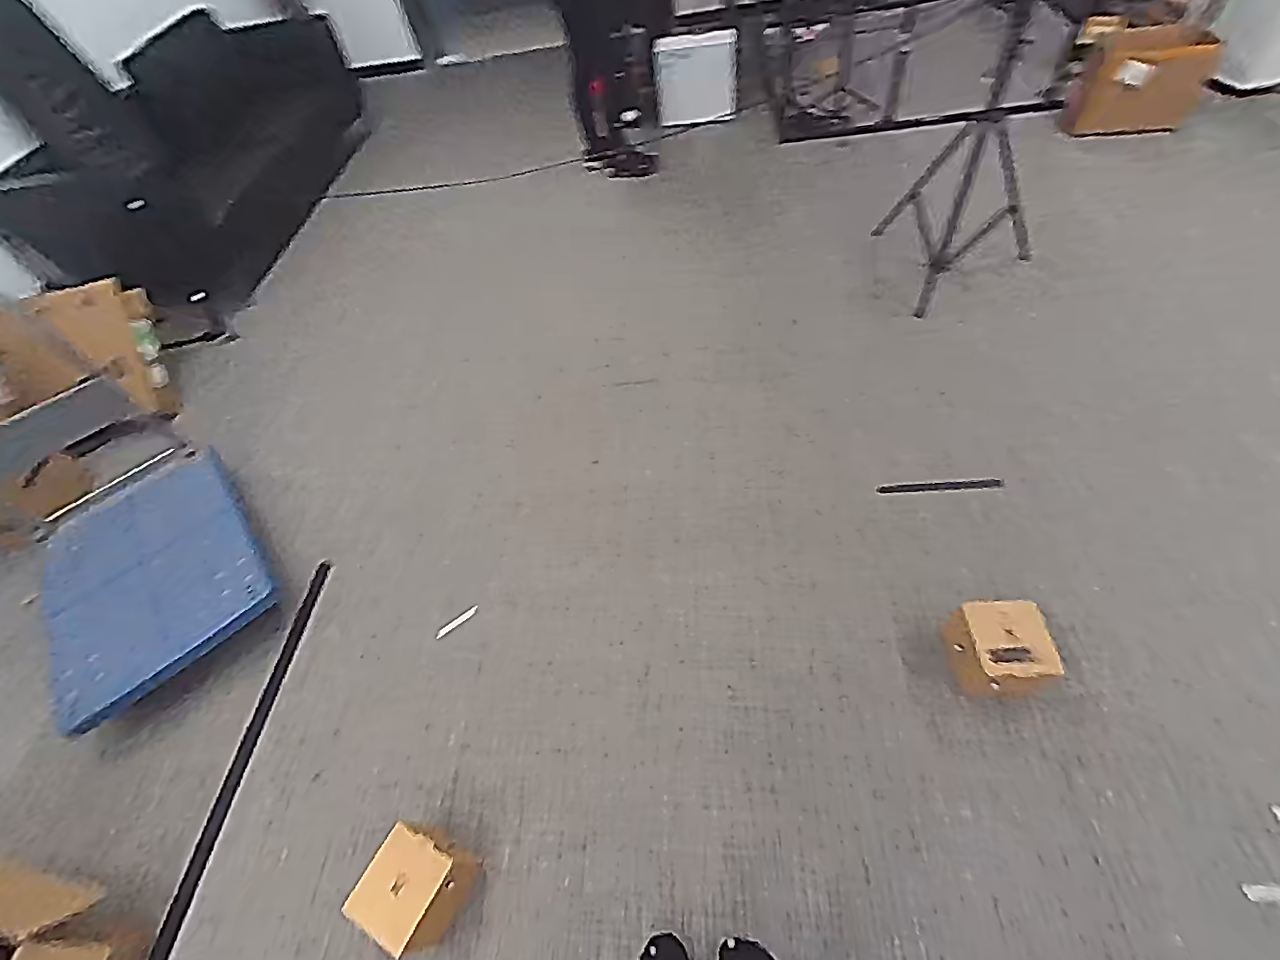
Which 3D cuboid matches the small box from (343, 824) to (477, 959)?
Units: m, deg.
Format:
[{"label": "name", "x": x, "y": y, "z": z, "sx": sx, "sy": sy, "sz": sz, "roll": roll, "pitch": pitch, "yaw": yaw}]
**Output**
[{"label": "small box", "x": -0.484, "y": 0.885, "z": 1.171, "sx": 0.168, "sy": 0.176, "sz": 0.179, "roll": 18, "pitch": 58, "yaw": 22}]
